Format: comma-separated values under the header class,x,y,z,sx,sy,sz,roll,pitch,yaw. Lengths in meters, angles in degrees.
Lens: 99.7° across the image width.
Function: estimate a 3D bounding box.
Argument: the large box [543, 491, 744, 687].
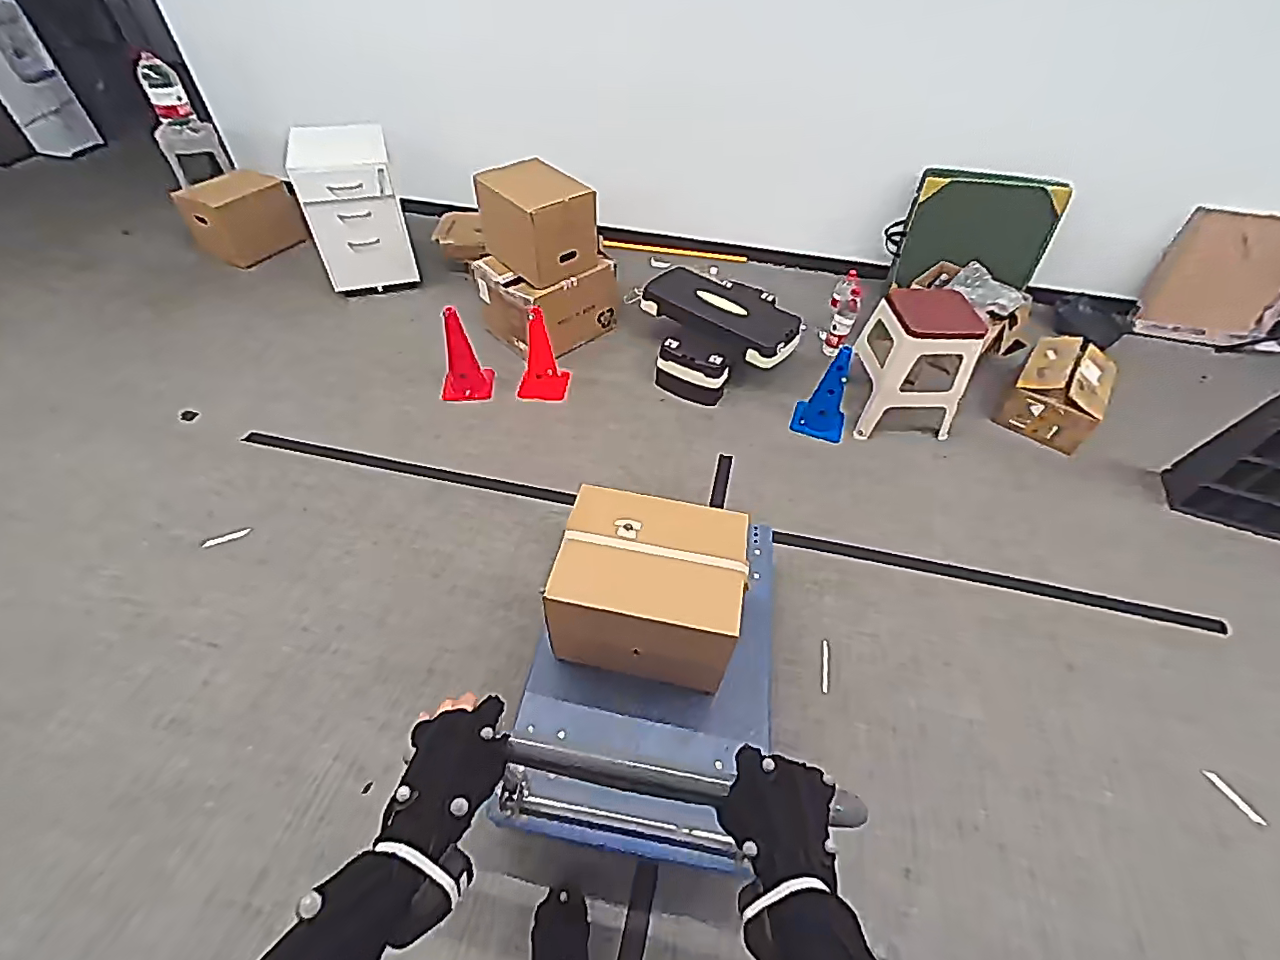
class,x,y,z,sx,sy,sz,roll,pitch,yaw
large box,0.021,0.265,1.302,0.408,0.320,0.320,10,49,7
